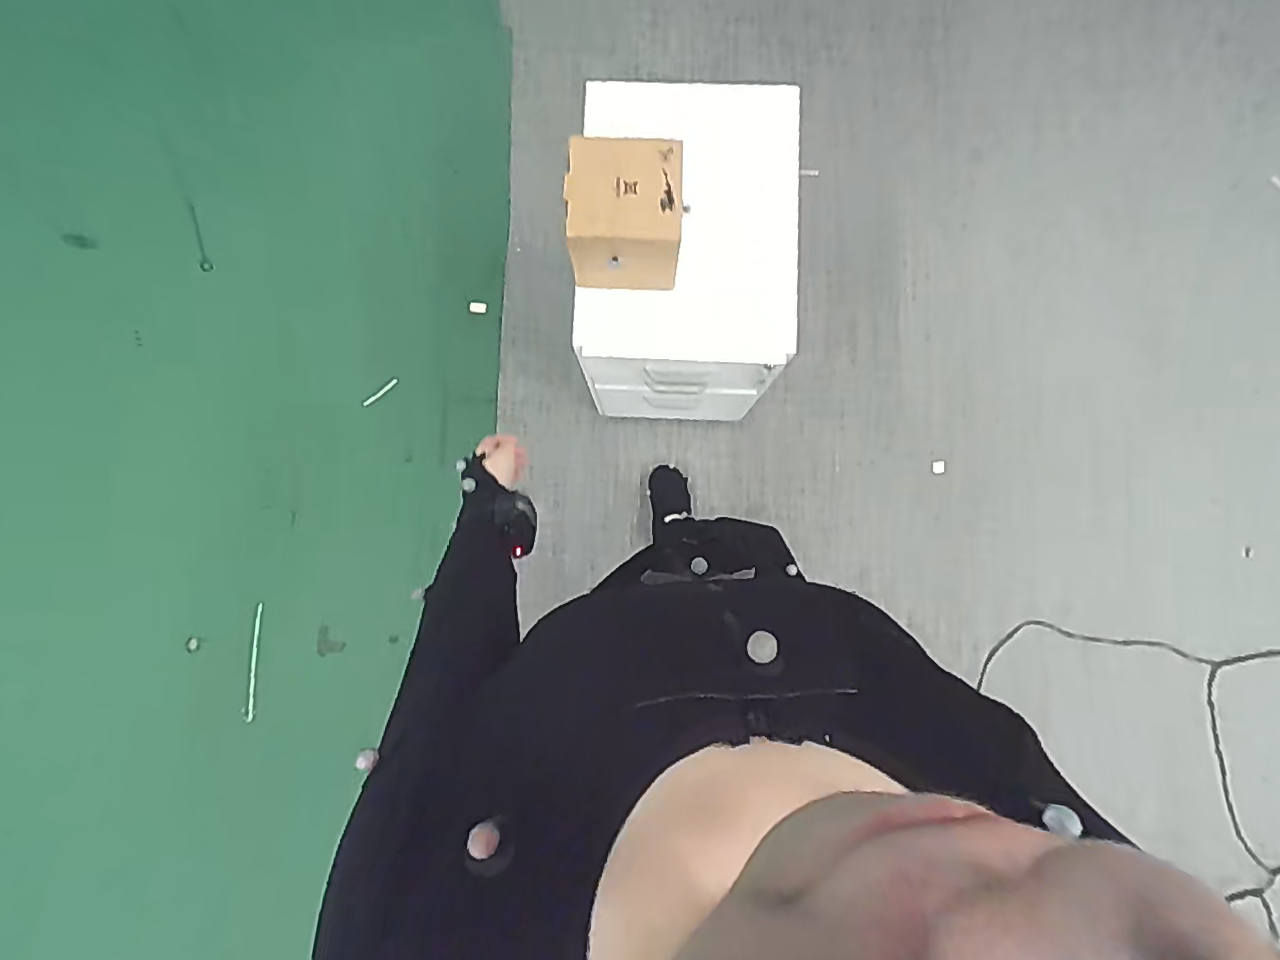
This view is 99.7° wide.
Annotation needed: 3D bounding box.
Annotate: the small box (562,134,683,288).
[{"bbox_3d":[-0.024,-0.428,0.882,0.179,0.176,0.168,2,85,1],"label":"small box"}]
